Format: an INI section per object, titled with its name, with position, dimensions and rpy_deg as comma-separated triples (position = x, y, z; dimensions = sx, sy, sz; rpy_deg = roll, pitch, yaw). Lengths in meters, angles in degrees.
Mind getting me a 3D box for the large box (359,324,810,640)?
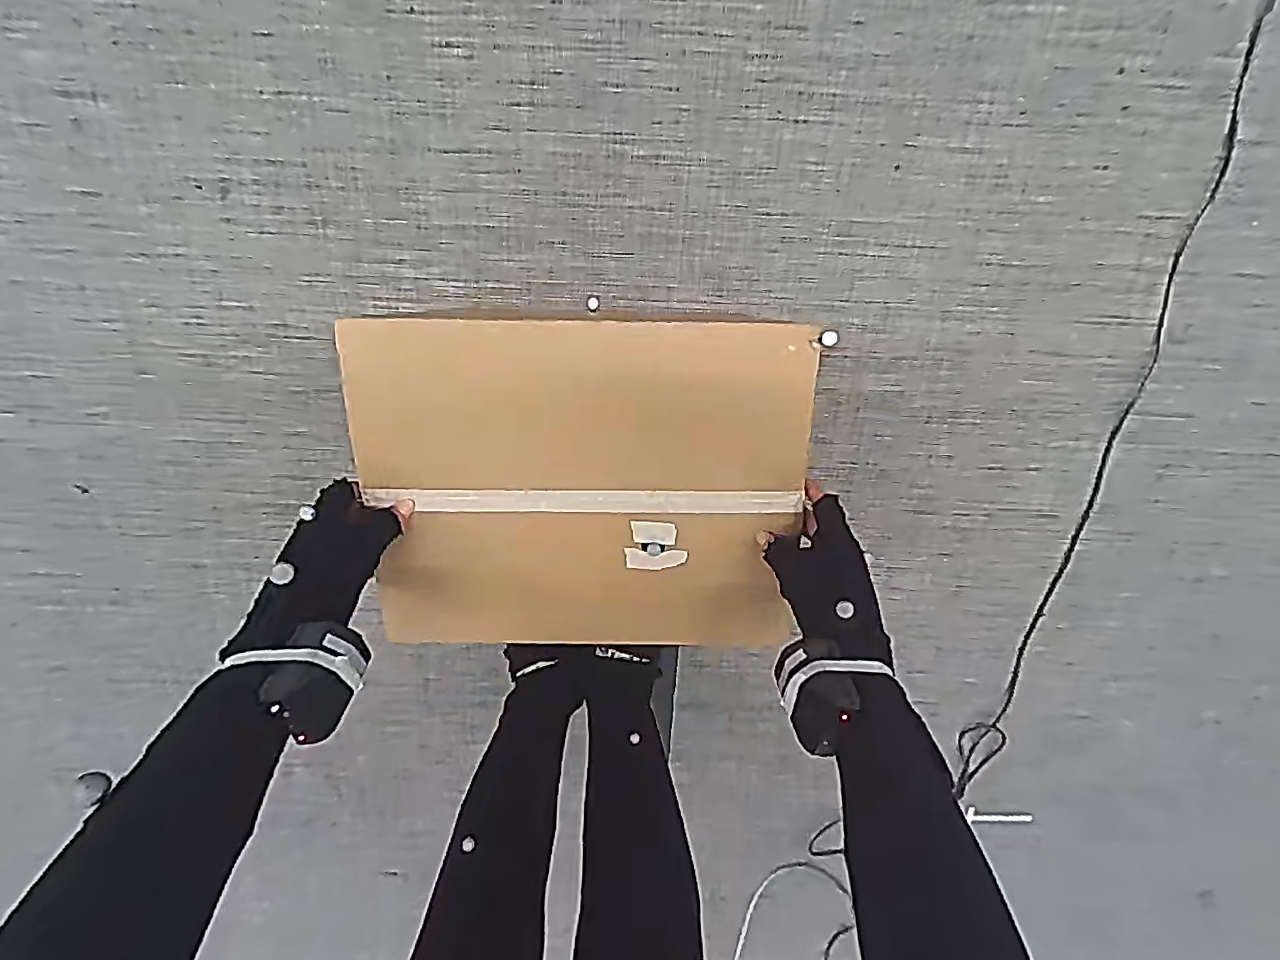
[large box]
position = -0.052, -0.027, 0.659
dimensions = 0.408, 0.320, 0.320
rpy_deg = 0, 109, -1
